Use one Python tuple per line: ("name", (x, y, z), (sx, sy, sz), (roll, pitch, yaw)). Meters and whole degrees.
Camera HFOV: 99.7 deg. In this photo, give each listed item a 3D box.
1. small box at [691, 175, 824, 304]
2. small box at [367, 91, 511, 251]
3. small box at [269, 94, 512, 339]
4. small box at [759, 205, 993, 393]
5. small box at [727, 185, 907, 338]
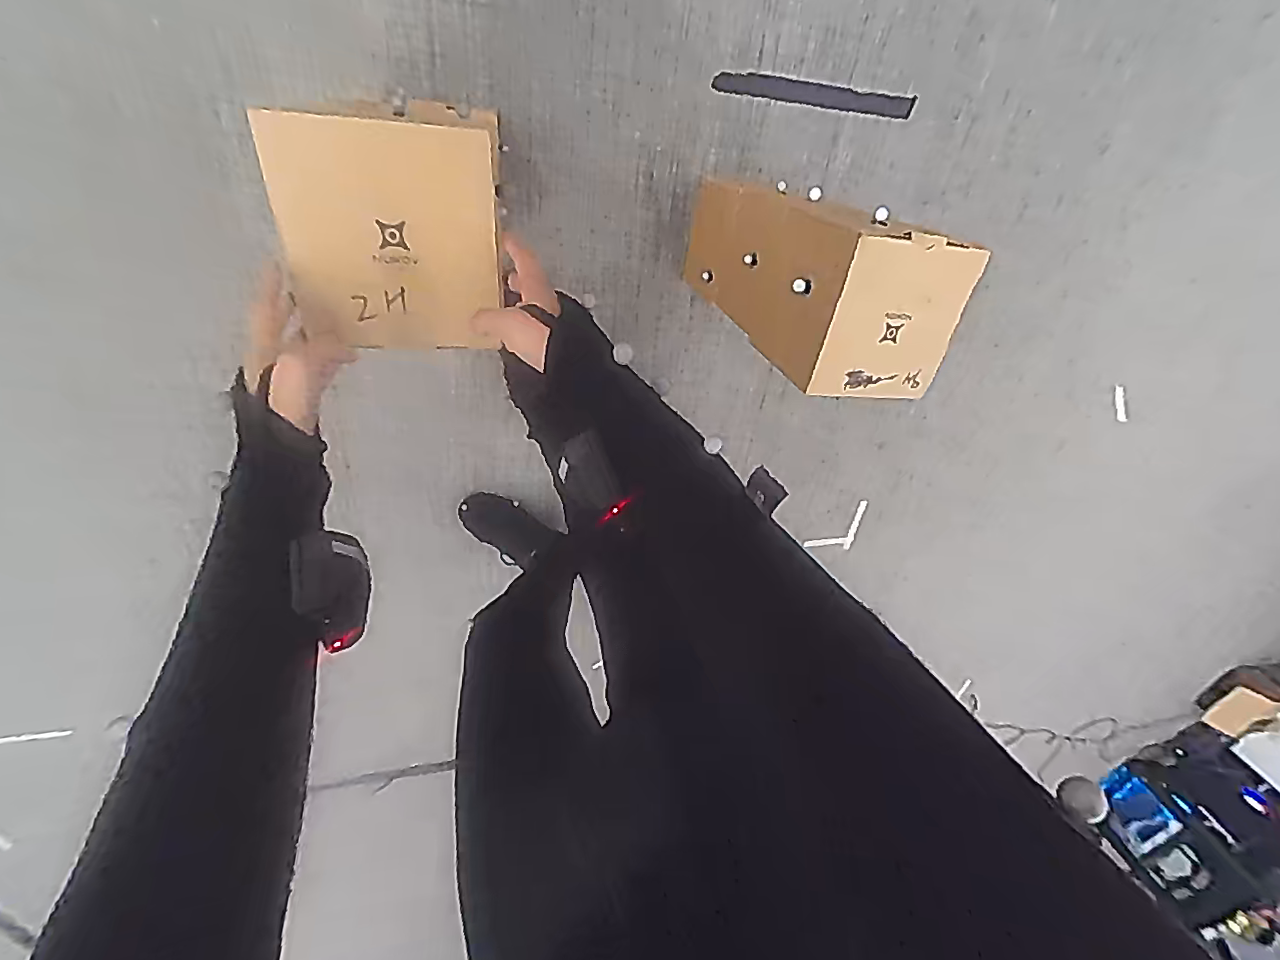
("small box", (0.198, -0.404, 0.919), (0.168, 0.176, 0.179), (0, 125, -16))
("small box", (-0.272, -0.435, 0.768), (0.168, 0.176, 0.179), (-2, 124, -12))
("small box", (-0.208, -0.246, 0.508), (0.168, 0.176, 0.179), (-2, 125, -12))
("small box", (0.264, -0.221, 0.653), (0.168, 0.176, 0.179), (0, 124, -15))
("small box", (0.241, -0.313, 0.789), (0.168, 0.176, 0.179), (0, 124, -16))
